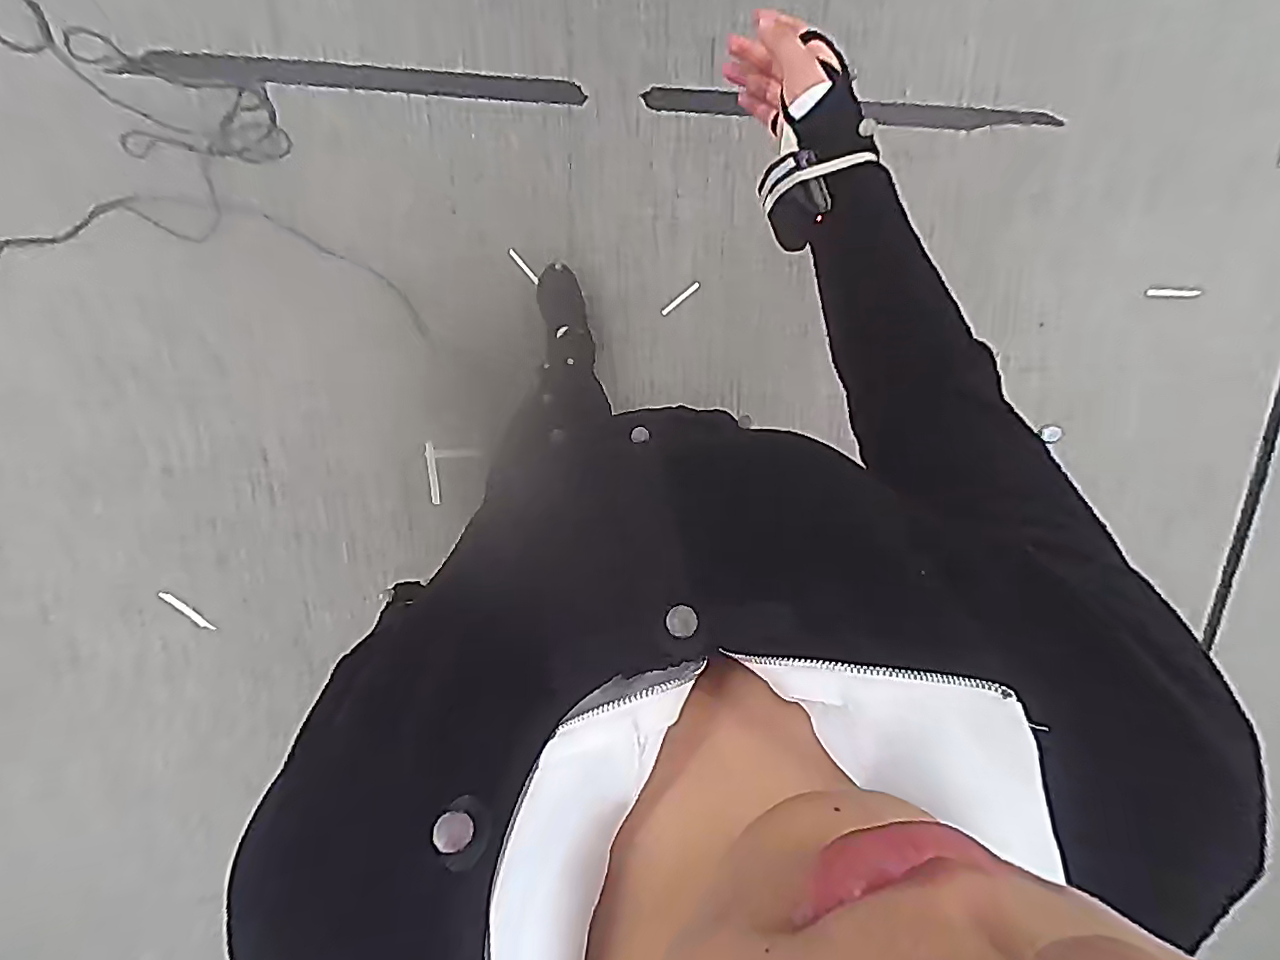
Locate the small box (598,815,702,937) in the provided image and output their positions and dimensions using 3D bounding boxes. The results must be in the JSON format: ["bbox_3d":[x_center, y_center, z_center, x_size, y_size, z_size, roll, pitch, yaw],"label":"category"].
[{"bbox_3d":[0.012,0.726,0.945,0.168,0.176,0.179,-1,103,-4],"label":"small box"}]
